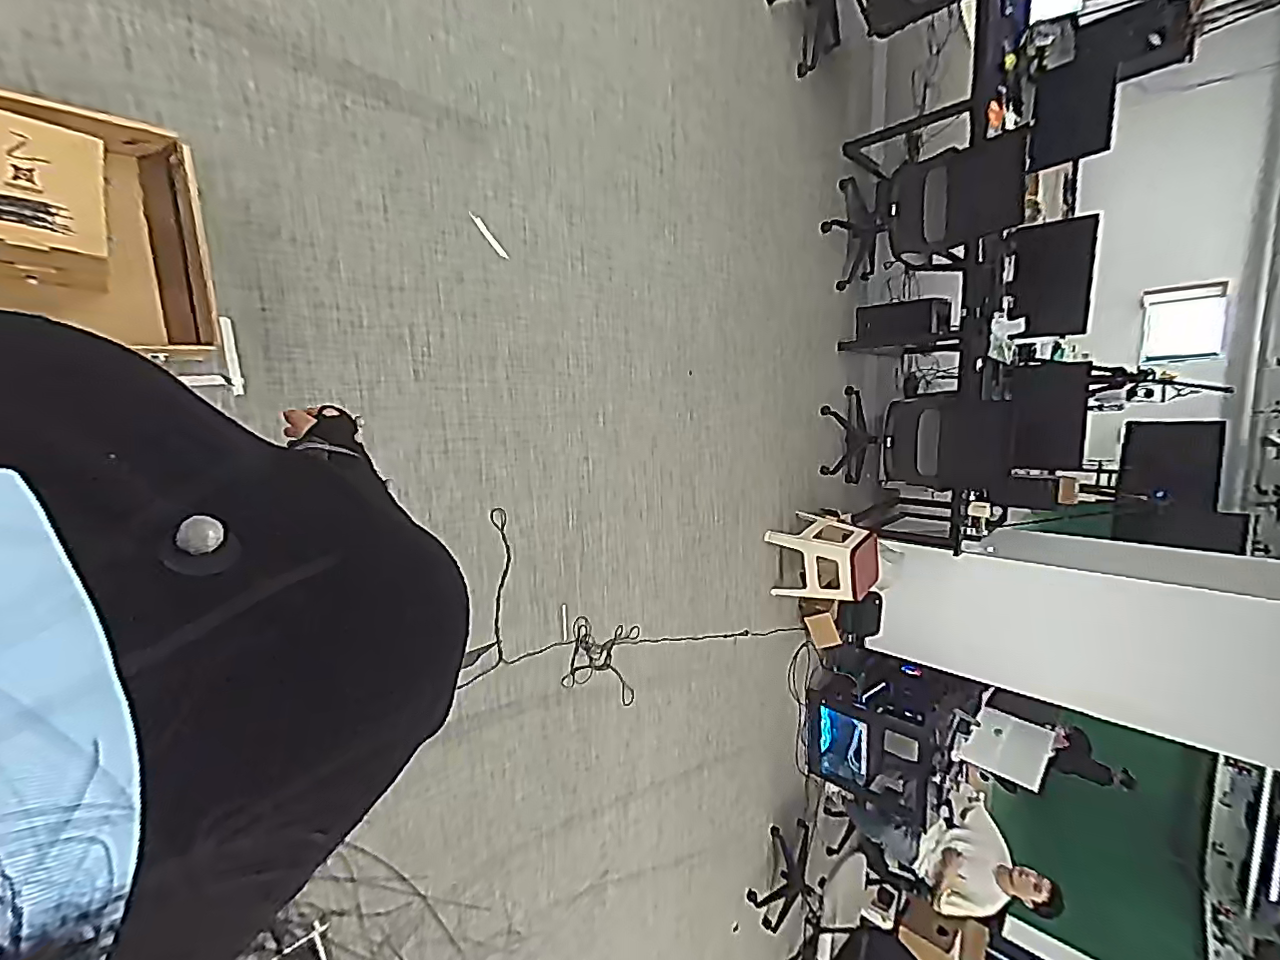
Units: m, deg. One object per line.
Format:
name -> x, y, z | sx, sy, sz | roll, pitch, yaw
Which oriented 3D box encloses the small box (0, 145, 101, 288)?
small box -> -1.038, -0.442, 0.917 | 0.168, 0.176, 0.179 | -4, 98, -44
